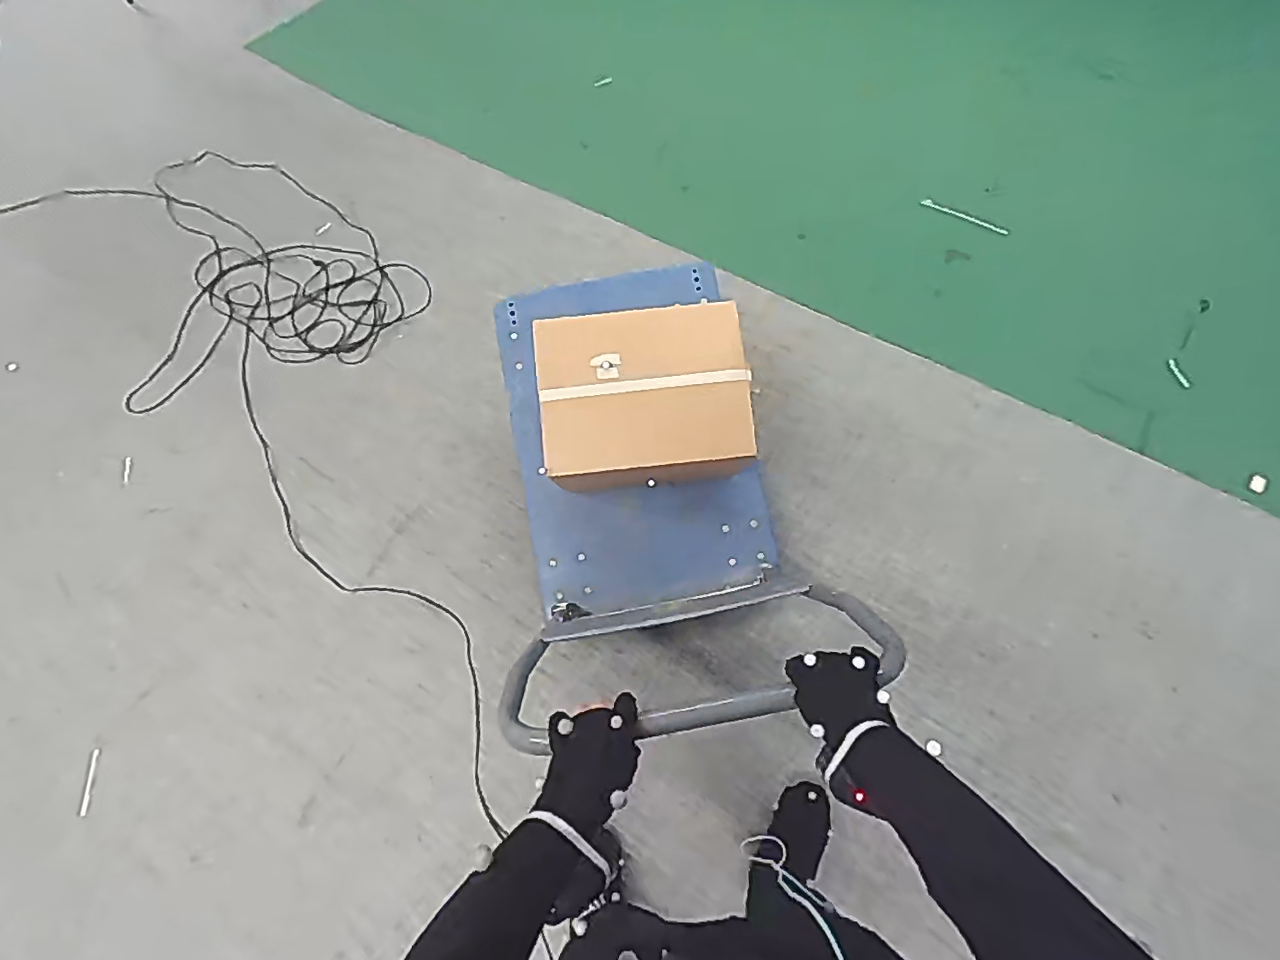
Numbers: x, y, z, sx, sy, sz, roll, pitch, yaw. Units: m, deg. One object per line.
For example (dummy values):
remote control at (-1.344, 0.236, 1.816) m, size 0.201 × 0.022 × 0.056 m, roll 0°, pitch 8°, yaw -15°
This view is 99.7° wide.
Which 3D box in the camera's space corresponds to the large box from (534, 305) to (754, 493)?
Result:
large box at (0.008, -0.154, 1.189) m, size 0.408 × 0.320 × 0.320 m, roll -6°, pitch 83°, yaw 0°
